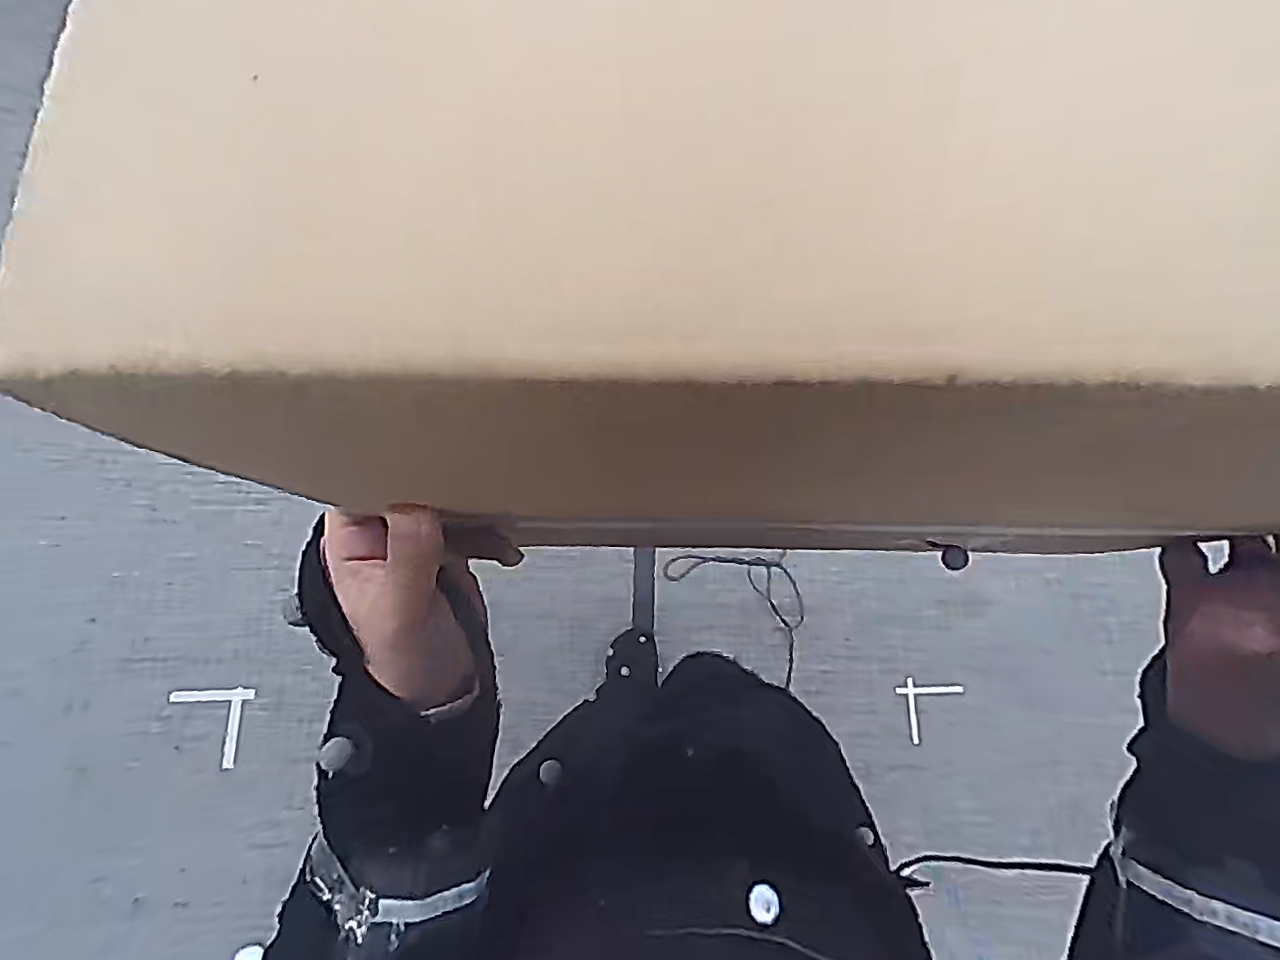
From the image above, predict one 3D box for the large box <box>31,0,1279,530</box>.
[{"bbox_3d":[0.091,-0.146,0.265,0.408,0.320,0.320,0,79,0],"label":"large box"}]
